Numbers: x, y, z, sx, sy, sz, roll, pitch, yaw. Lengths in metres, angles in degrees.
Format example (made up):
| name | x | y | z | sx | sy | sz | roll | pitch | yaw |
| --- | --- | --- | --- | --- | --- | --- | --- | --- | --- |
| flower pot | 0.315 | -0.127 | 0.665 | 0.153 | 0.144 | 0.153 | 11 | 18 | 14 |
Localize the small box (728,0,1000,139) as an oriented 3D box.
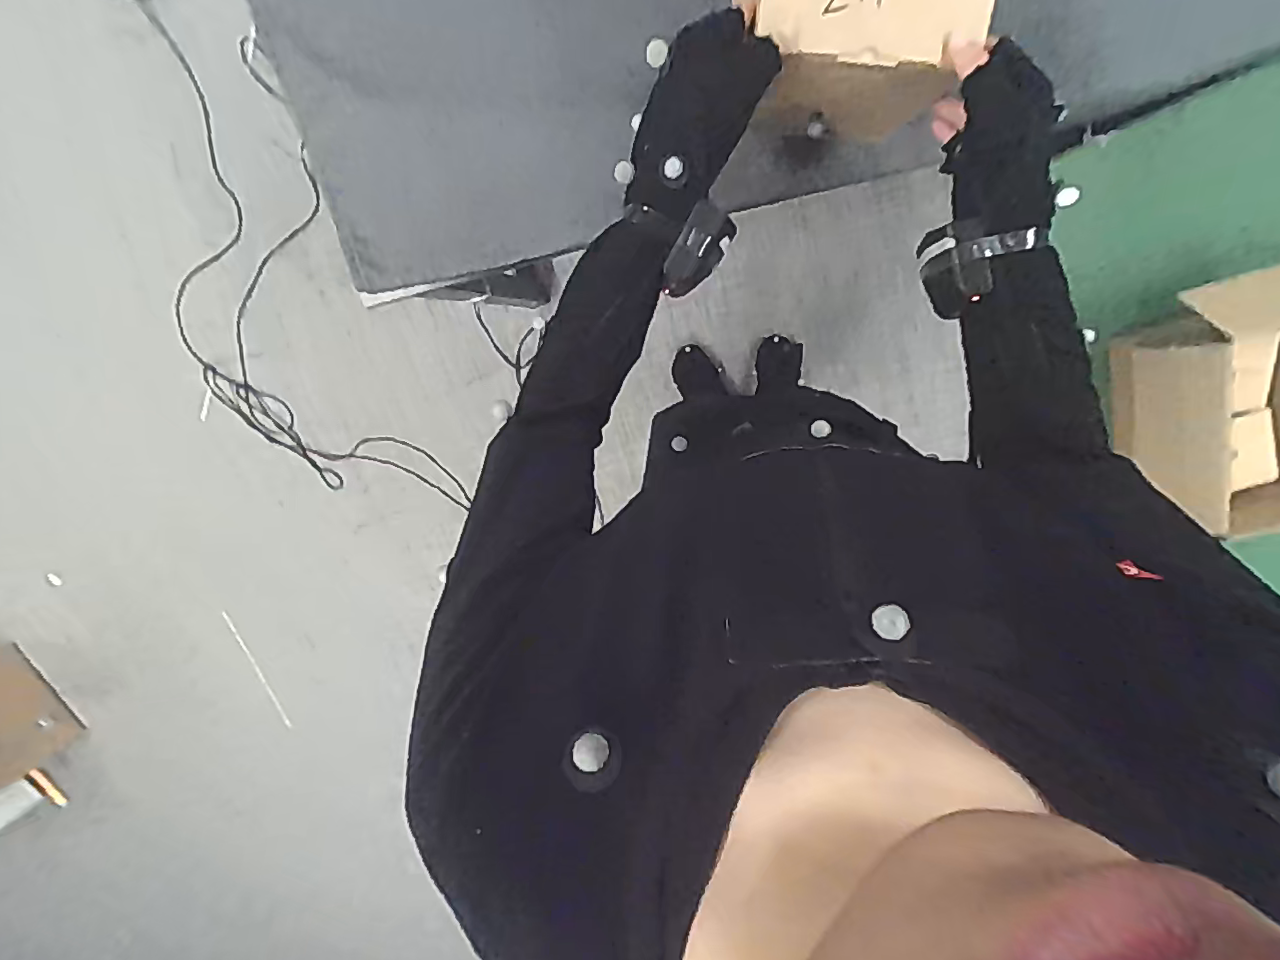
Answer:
| name | x | y | z | sx | sy | sz | roll | pitch | yaw |
| --- | --- | --- | --- | --- | --- | --- | --- | --- | --- |
| small box | 0.173 | -0.408 | 0.439 | 0.168 | 0.176 | 0.179 | 4 | 108 | -2 |
